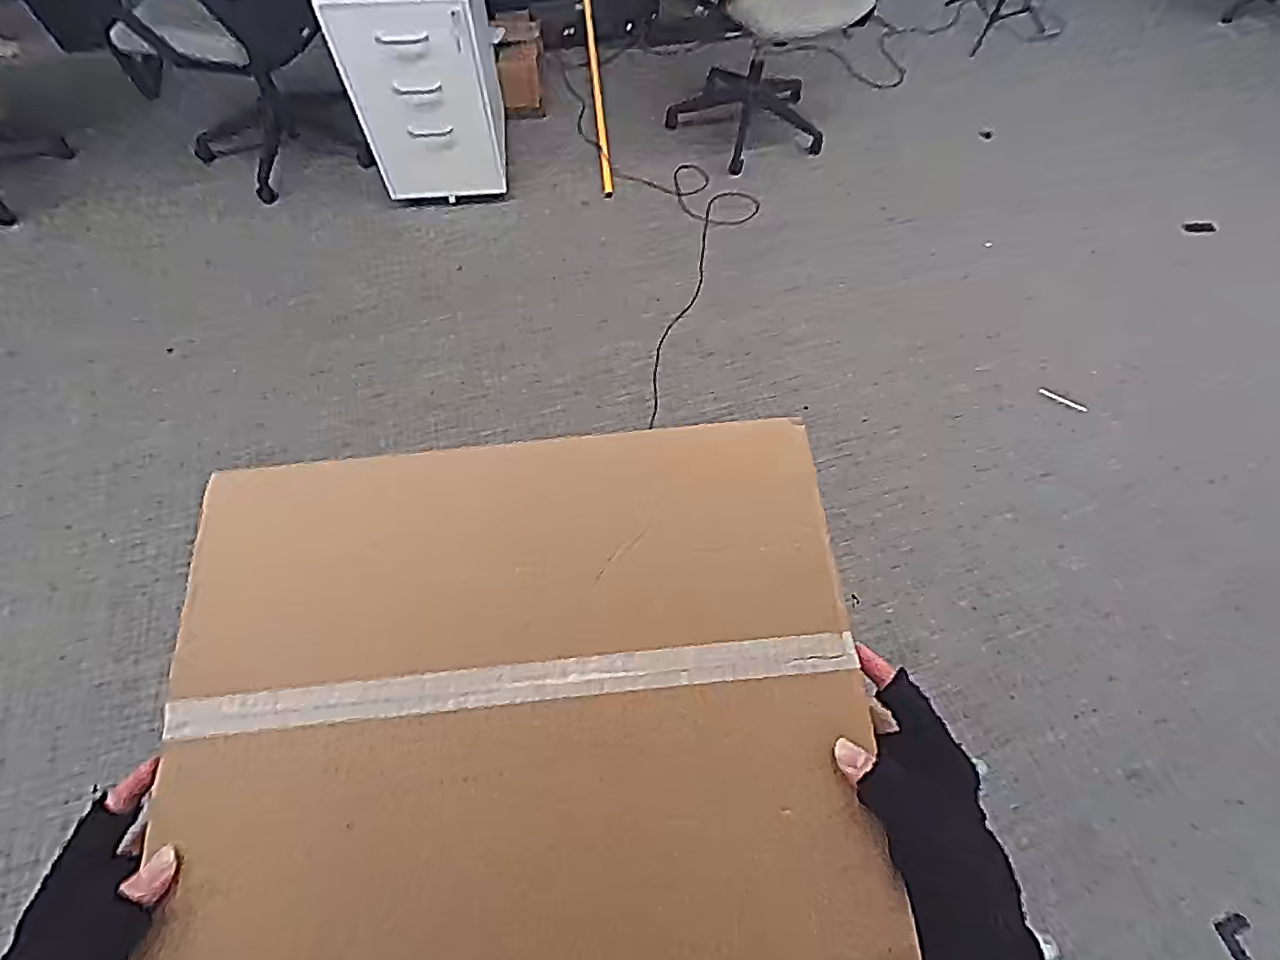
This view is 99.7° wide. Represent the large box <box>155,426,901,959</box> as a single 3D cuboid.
[{"bbox_3d":[-0.069,0.175,0.471,0.408,0.320,0.320,-5,71,0],"label":"large box"}]
